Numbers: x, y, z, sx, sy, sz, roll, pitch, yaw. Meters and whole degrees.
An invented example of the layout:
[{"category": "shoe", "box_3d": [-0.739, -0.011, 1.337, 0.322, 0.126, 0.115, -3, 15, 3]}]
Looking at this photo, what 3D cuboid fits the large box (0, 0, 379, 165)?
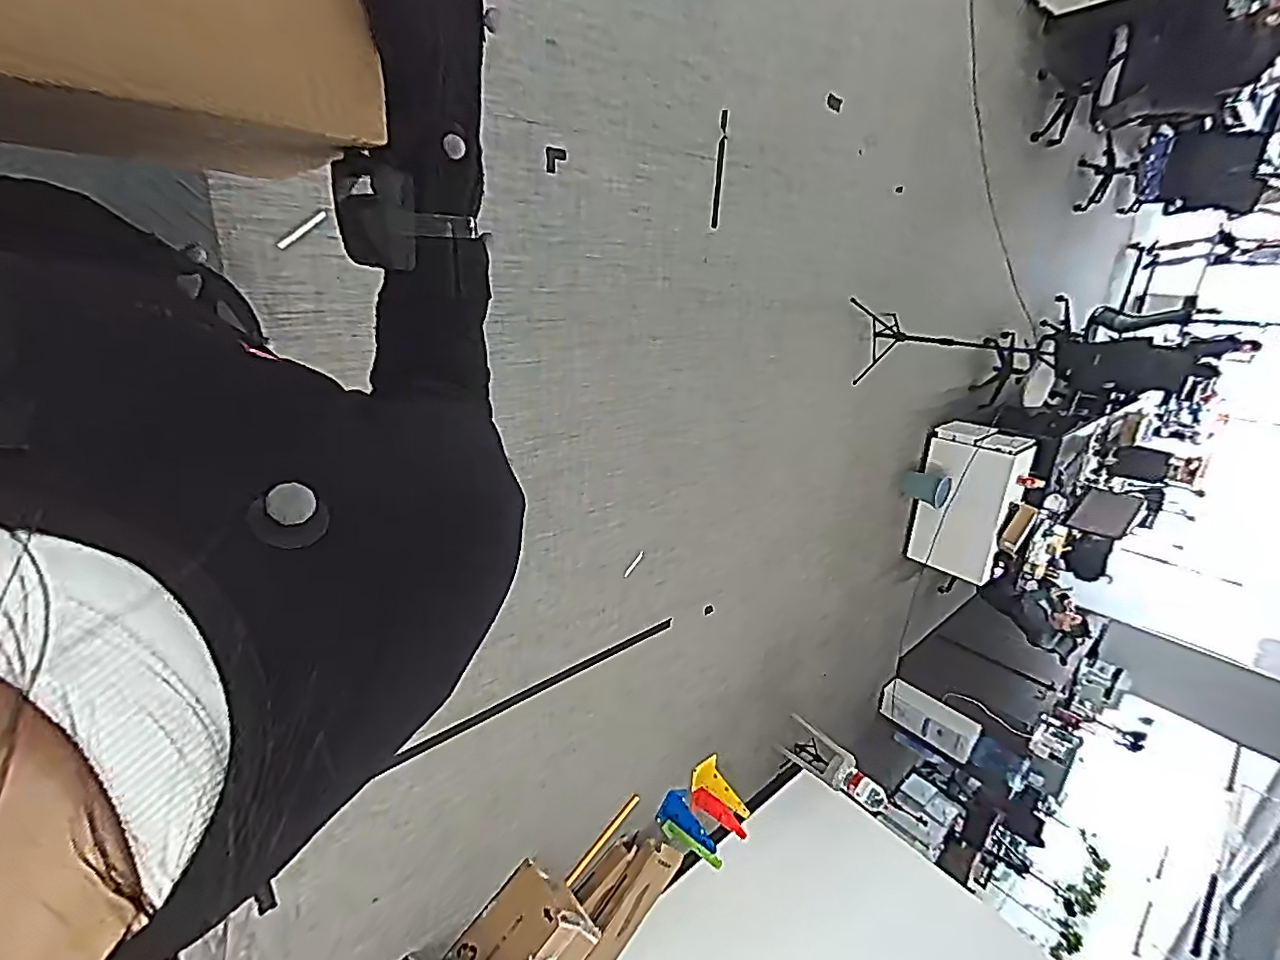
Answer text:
[{"category": "large box", "box_3d": [-0.396, -0.355, 0.246, 0.408, 0.320, 0.320, -16, 120, -39]}]
